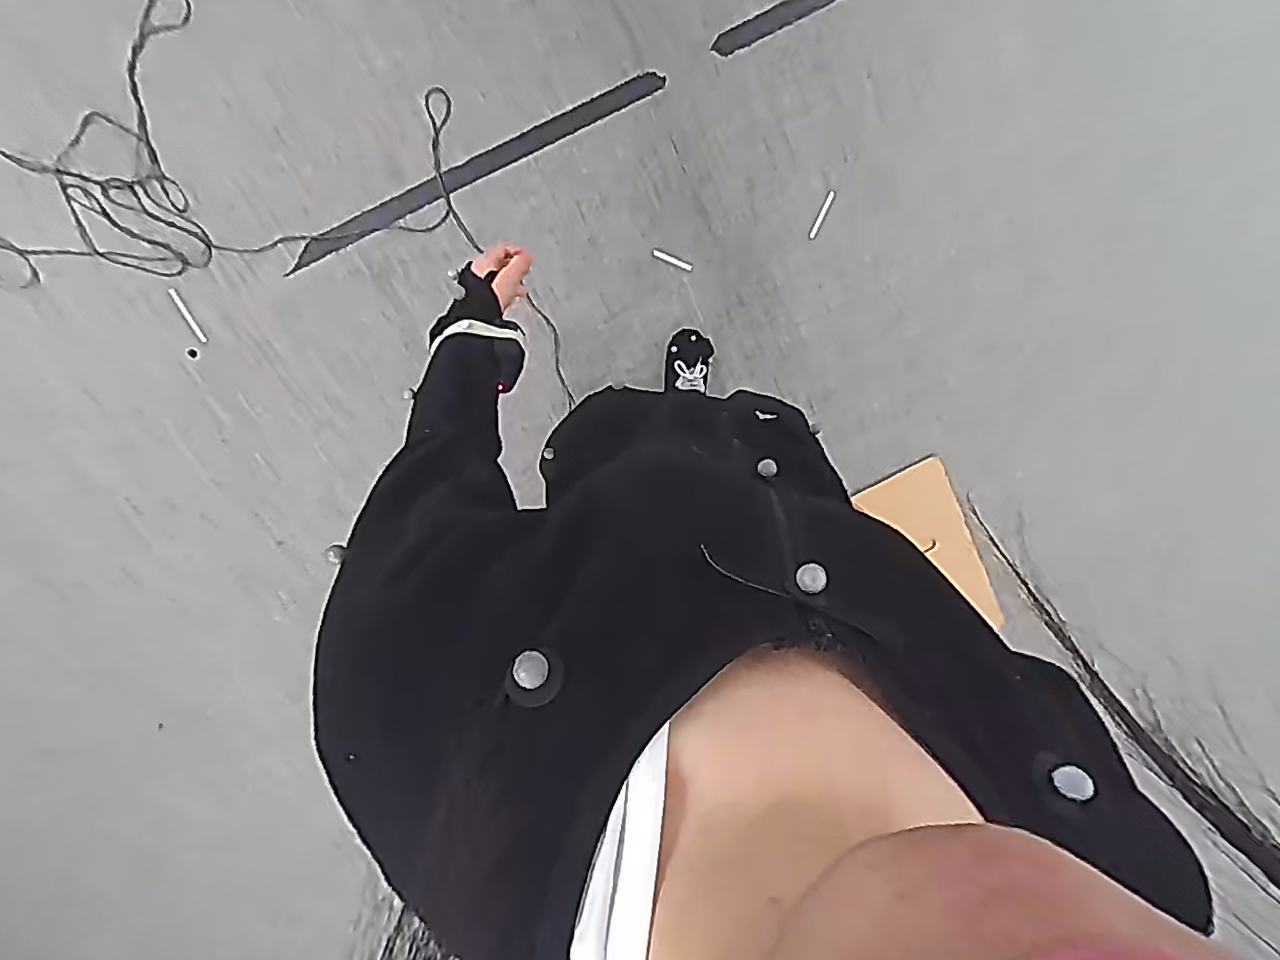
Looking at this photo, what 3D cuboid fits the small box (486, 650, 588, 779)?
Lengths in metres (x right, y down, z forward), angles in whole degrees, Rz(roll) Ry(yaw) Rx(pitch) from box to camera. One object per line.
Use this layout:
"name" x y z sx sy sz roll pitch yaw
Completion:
"small box" -0.219 0.514 1.203 0.168 0.176 0.179 21 100 -7
